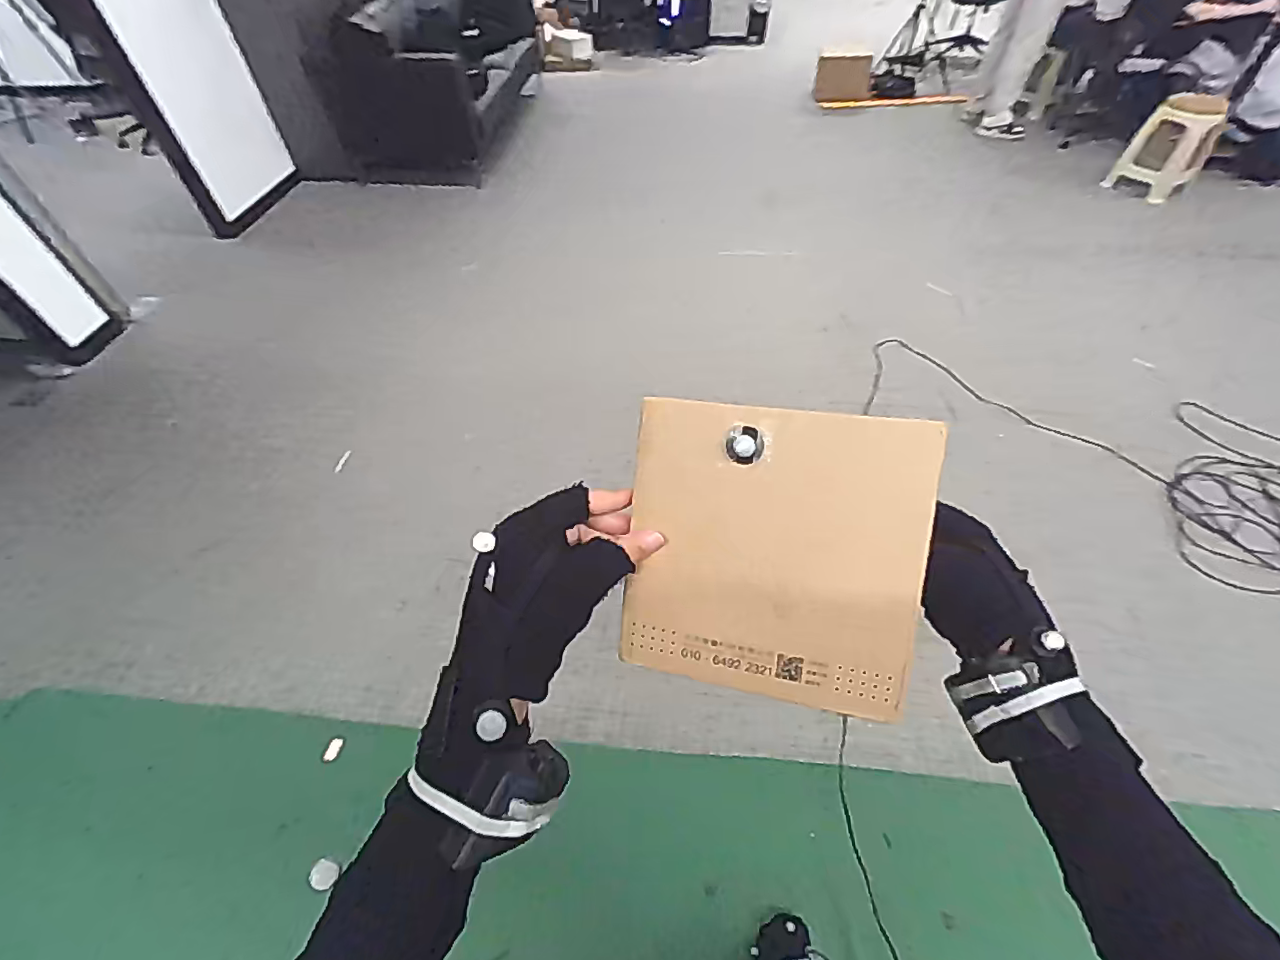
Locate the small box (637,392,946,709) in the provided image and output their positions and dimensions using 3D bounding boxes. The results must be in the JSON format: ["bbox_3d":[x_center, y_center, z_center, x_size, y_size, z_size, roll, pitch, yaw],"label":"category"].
[{"bbox_3d":[0.102,0.034,0.397,0.168,0.176,0.179,8,7,17],"label":"small box"}]
